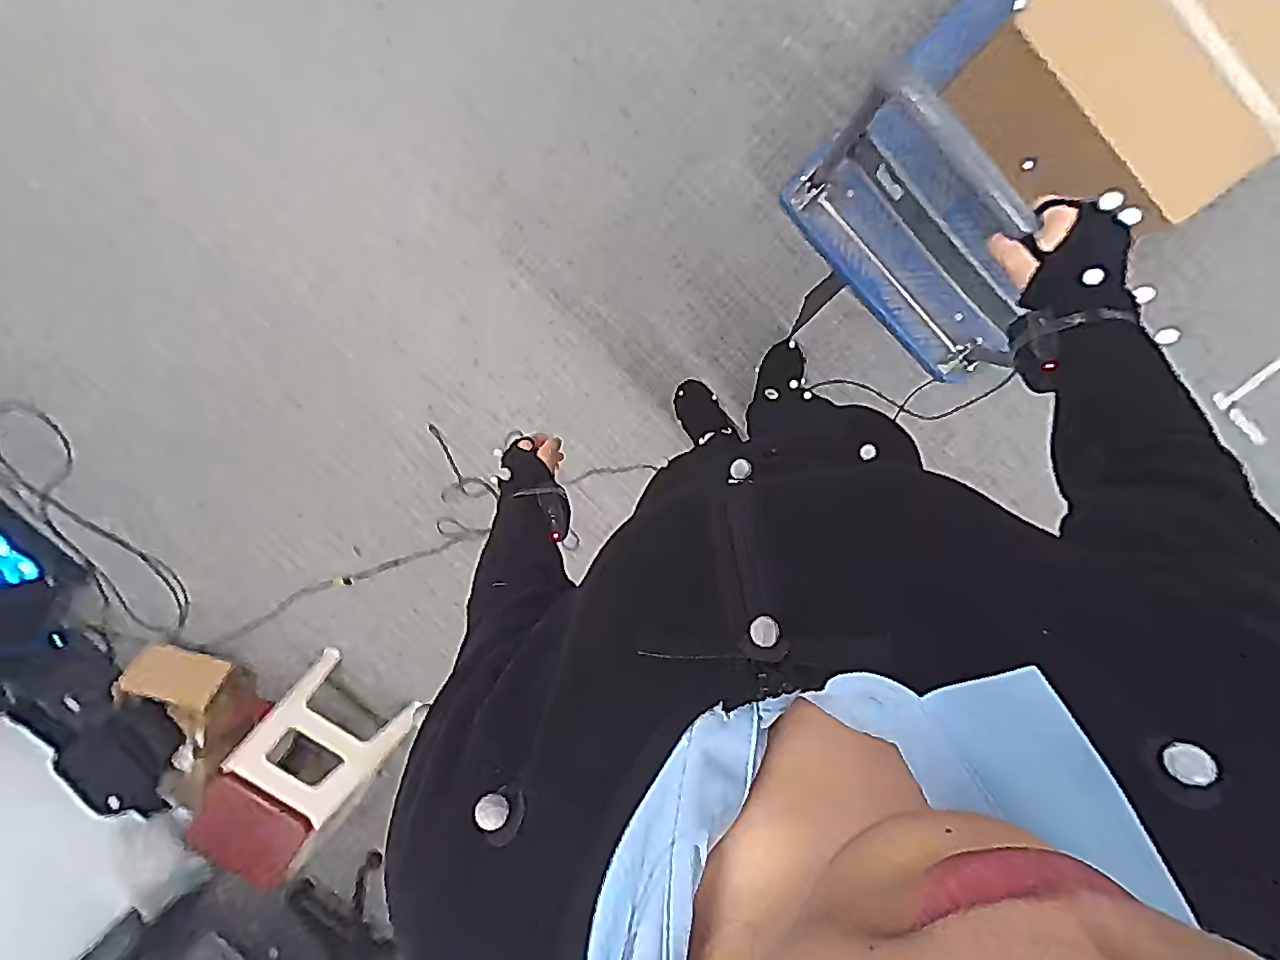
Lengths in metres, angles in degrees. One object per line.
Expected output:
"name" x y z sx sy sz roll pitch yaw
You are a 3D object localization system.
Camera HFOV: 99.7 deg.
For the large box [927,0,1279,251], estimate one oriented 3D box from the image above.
"large box" 0.798 -0.673 0.928 0.320 0.320 0.408 -43 94 15
